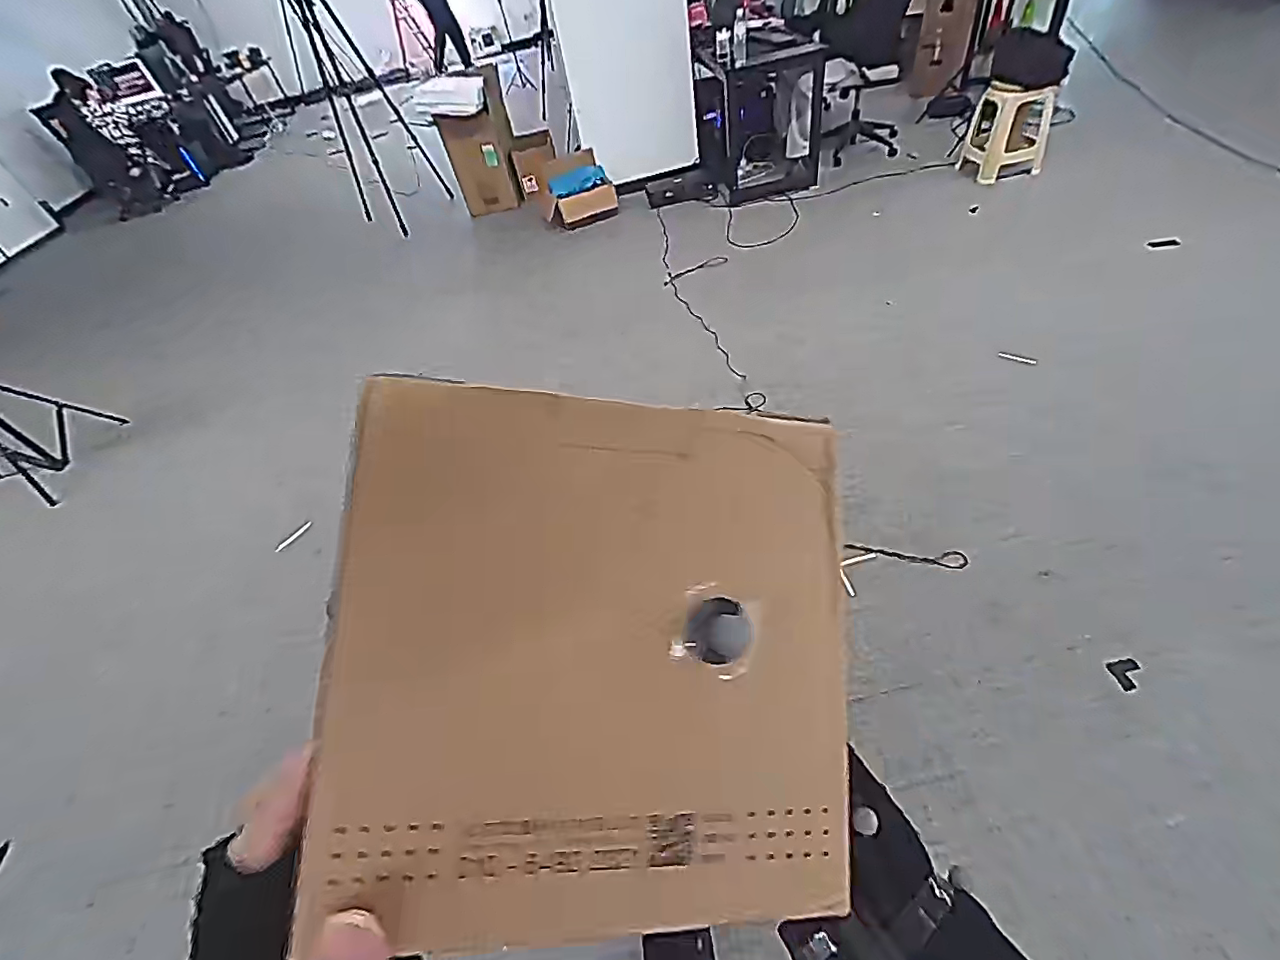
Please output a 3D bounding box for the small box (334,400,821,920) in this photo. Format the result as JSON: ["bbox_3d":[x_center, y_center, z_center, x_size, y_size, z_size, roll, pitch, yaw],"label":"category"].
[{"bbox_3d":[-0.025,0.071,0.258,0.168,0.179,0.176,4,80,-8],"label":"small box"}]
